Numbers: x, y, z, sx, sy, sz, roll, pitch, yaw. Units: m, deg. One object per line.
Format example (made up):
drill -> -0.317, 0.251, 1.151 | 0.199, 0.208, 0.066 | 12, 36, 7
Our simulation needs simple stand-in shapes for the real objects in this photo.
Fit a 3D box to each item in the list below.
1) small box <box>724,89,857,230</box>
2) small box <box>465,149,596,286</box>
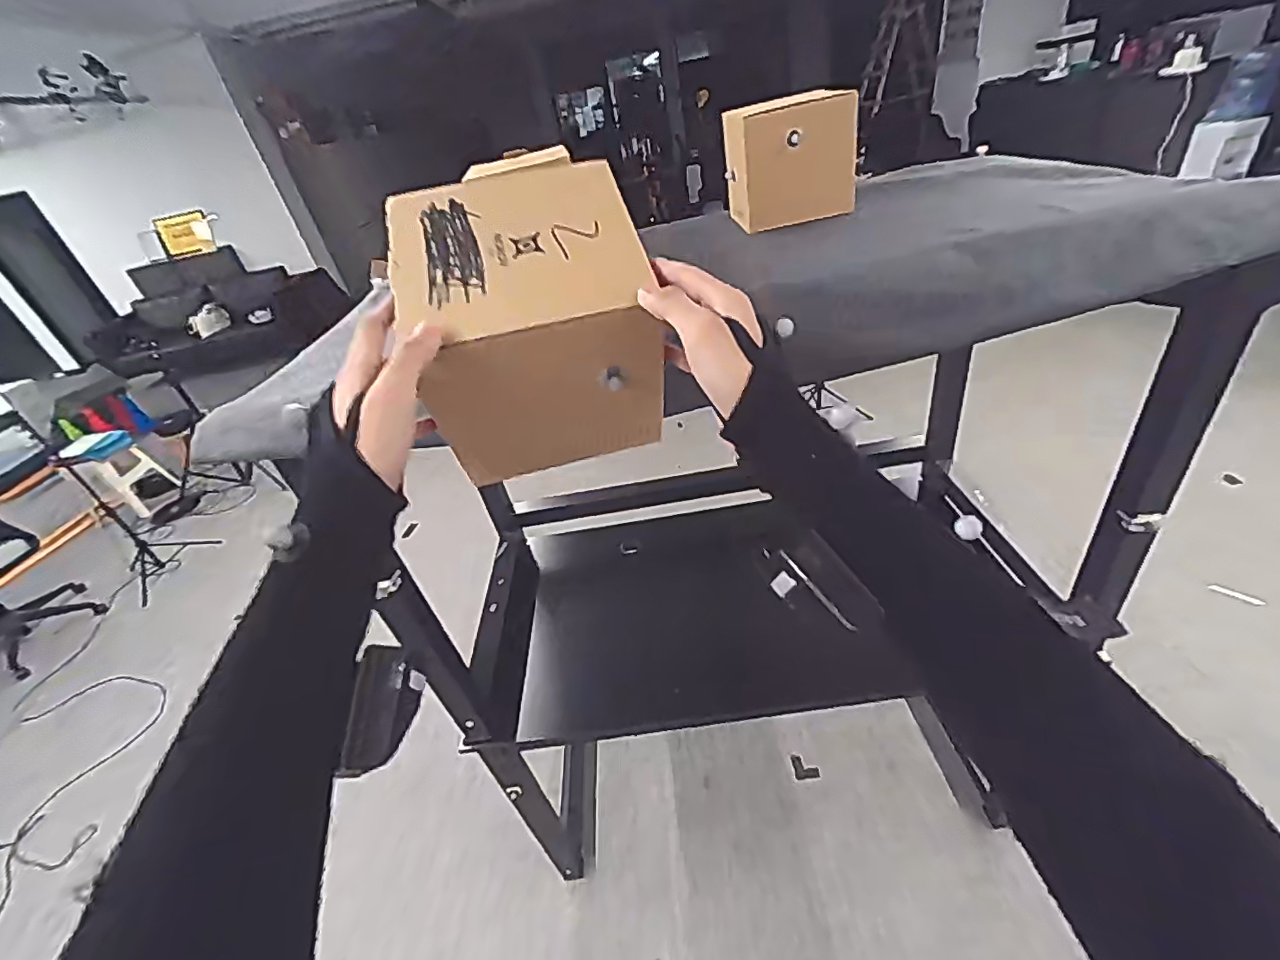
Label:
small box -> 0.247, -0.532, 0.904 | 0.179, 0.176, 0.168 | -10, 36, 4
small box -> -0.177, -0.444, 0.915 | 0.168, 0.176, 0.179 | -15, 35, -1
